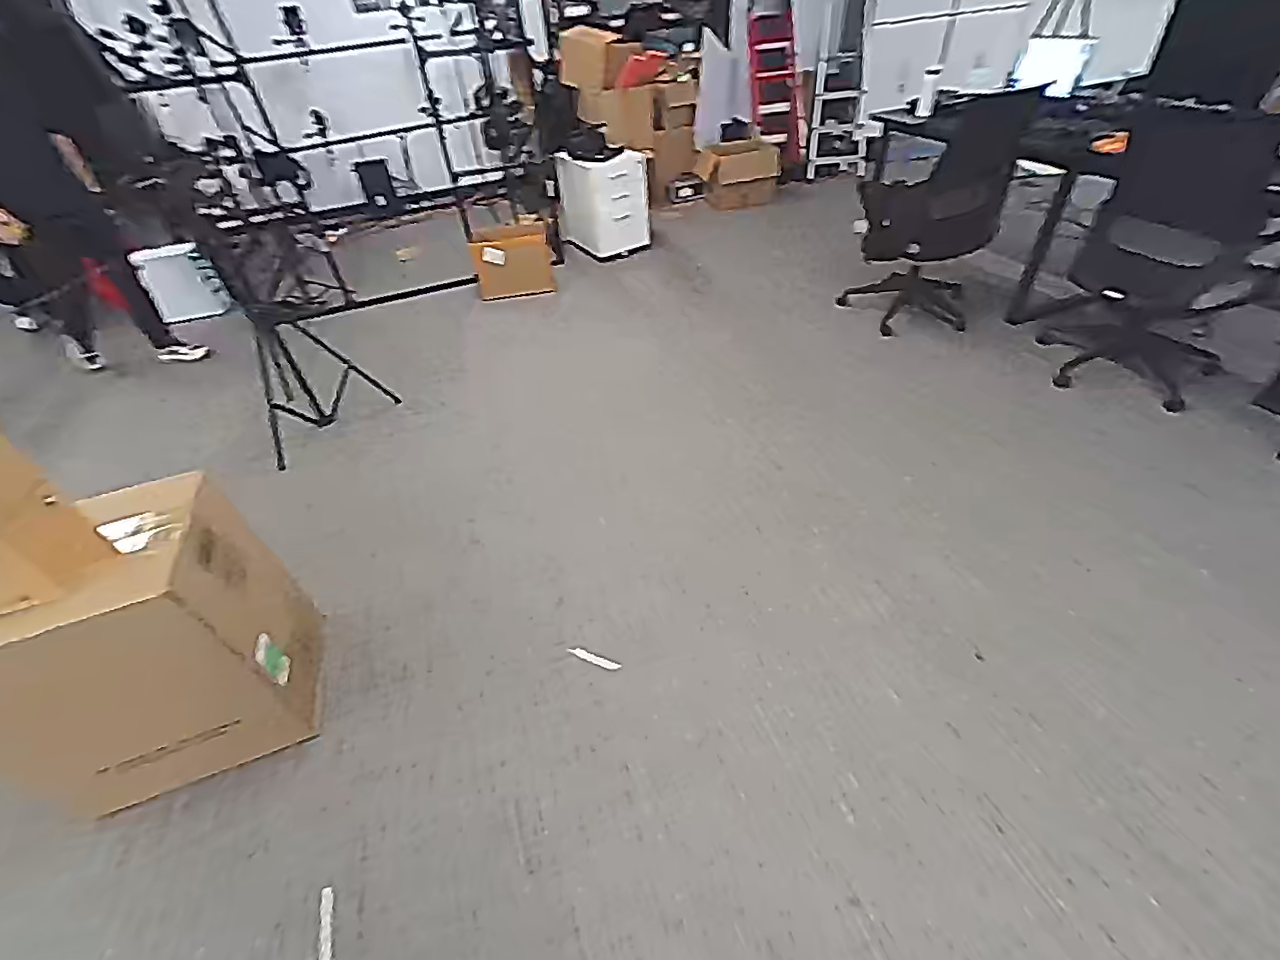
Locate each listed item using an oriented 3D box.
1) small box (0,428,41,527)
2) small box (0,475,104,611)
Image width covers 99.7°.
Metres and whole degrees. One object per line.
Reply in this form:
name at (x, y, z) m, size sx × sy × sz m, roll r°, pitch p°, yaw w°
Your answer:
small box at (-1.184, -0.003, 0.902) m, size 0.168 × 0.176 × 0.179 m, roll -16°, pitch 42°, yaw -9°
small box at (-1.170, 0.125, 1.005) m, size 0.168 × 0.176 × 0.179 m, roll -17°, pitch 42°, yaw -11°
